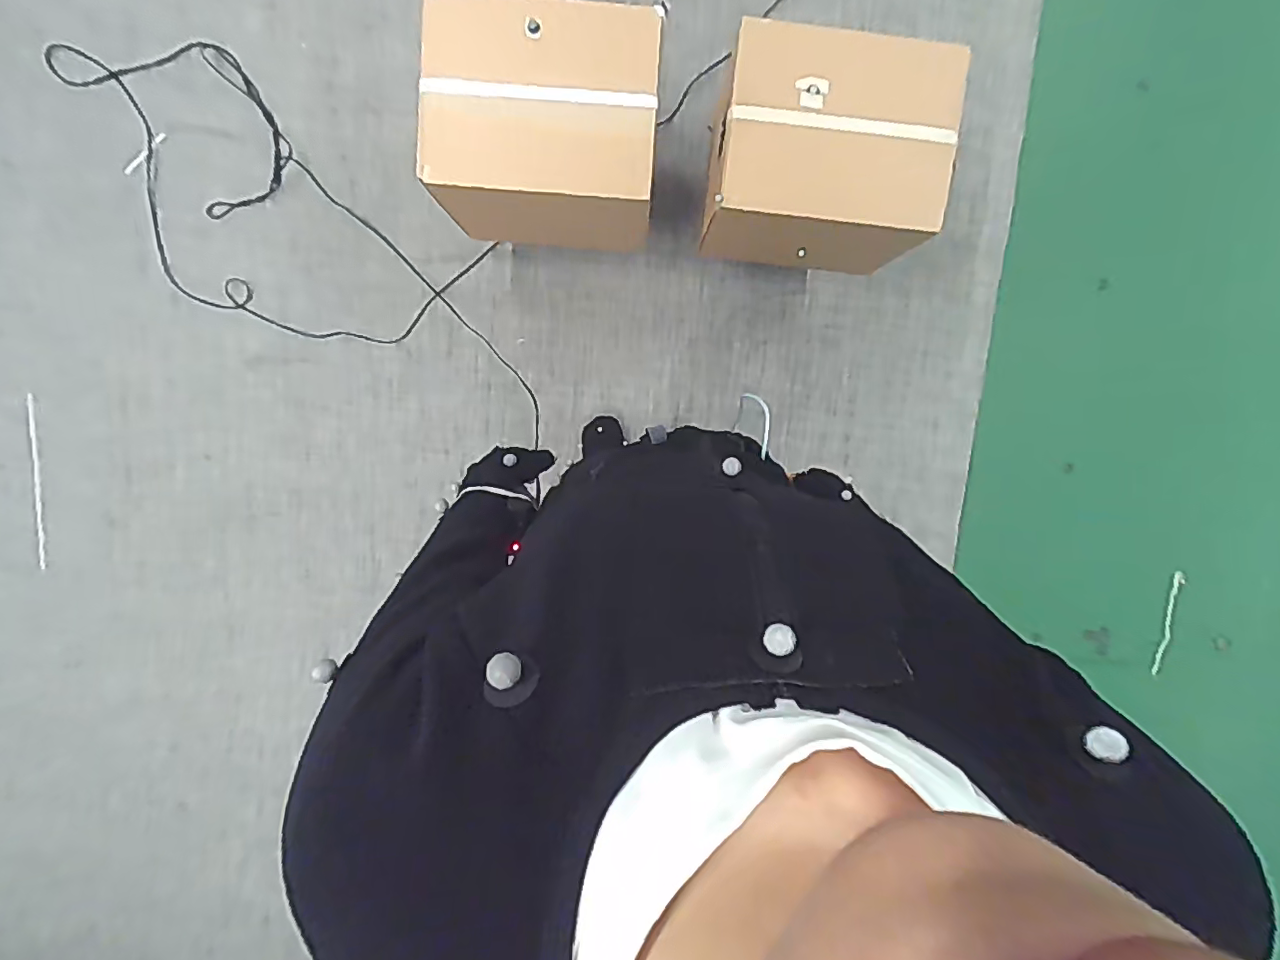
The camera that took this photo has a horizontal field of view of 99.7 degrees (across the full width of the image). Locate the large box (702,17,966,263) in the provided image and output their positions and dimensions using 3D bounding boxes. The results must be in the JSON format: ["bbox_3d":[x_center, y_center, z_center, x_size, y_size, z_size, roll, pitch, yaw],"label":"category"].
[{"bbox_3d":[0.357,-0.652,1.103,0.408,0.320,0.320,6,97,-1],"label":"large box"}]
